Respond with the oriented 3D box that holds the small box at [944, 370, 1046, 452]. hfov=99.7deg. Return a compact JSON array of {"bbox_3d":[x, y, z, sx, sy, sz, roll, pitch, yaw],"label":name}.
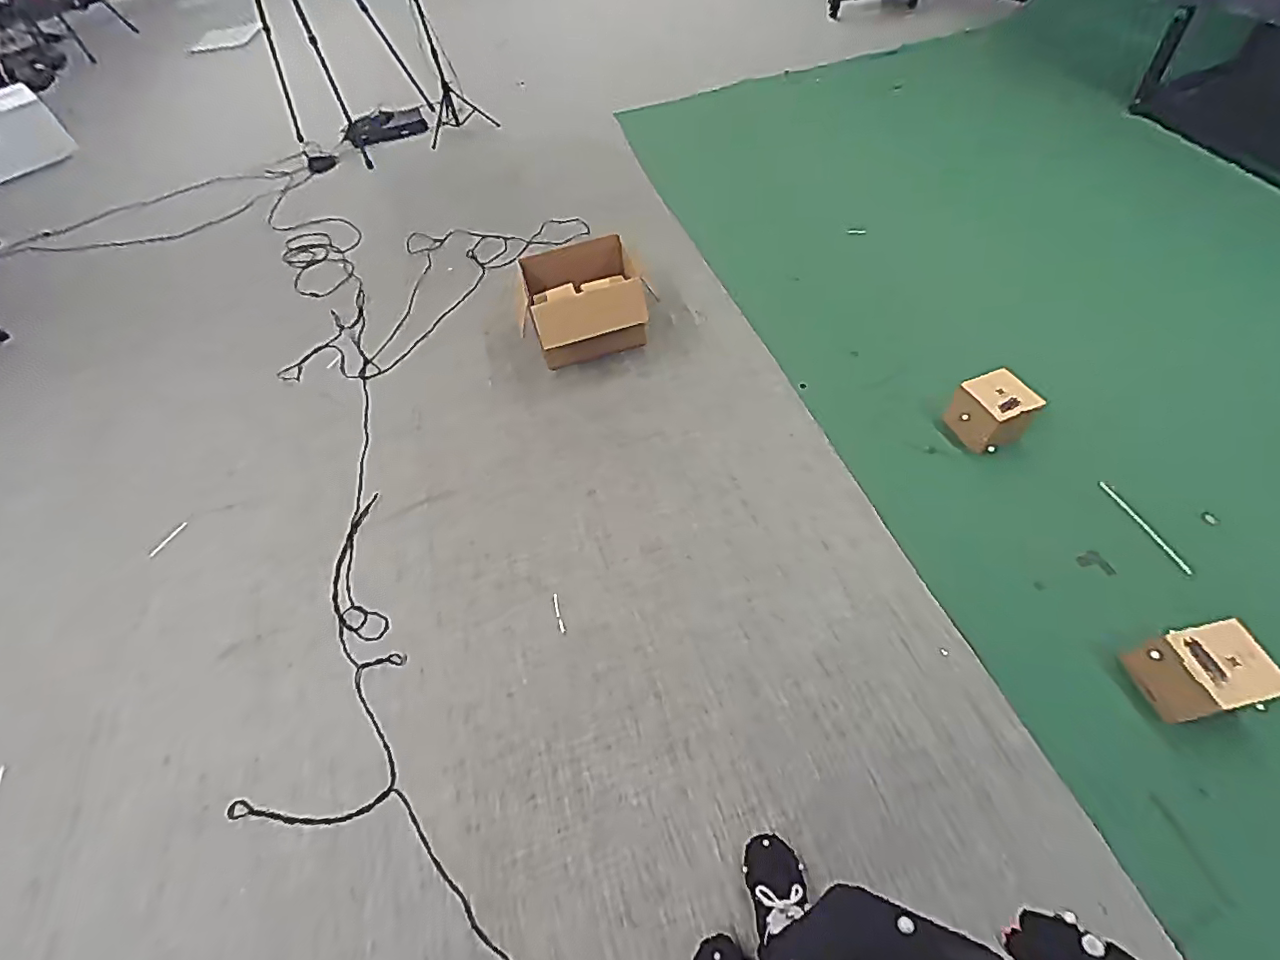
[{"bbox_3d":[1.104,-0.207,1.697,0.168,0.176,0.179,-19,54,-7],"label":"small box"}]
